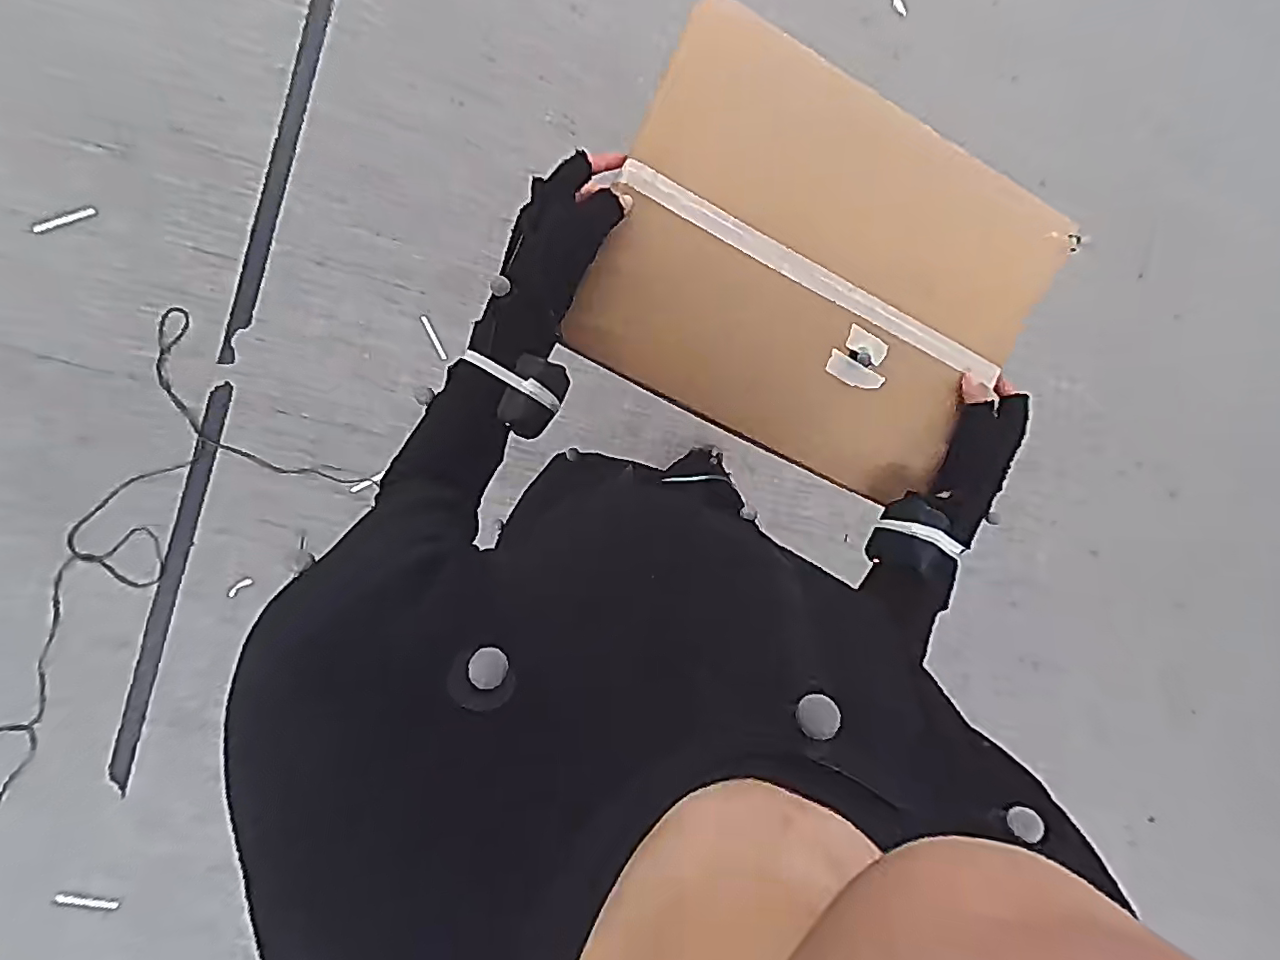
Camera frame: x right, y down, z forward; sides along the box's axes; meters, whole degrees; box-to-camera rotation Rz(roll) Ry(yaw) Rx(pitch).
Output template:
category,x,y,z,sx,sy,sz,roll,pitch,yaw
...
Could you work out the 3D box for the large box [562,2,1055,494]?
category,x,y,z,sx,sy,sz,roll,pitch,yaw
large box,0.150,-0.228,0.660,0.408,0.320,0.320,25,100,-11
